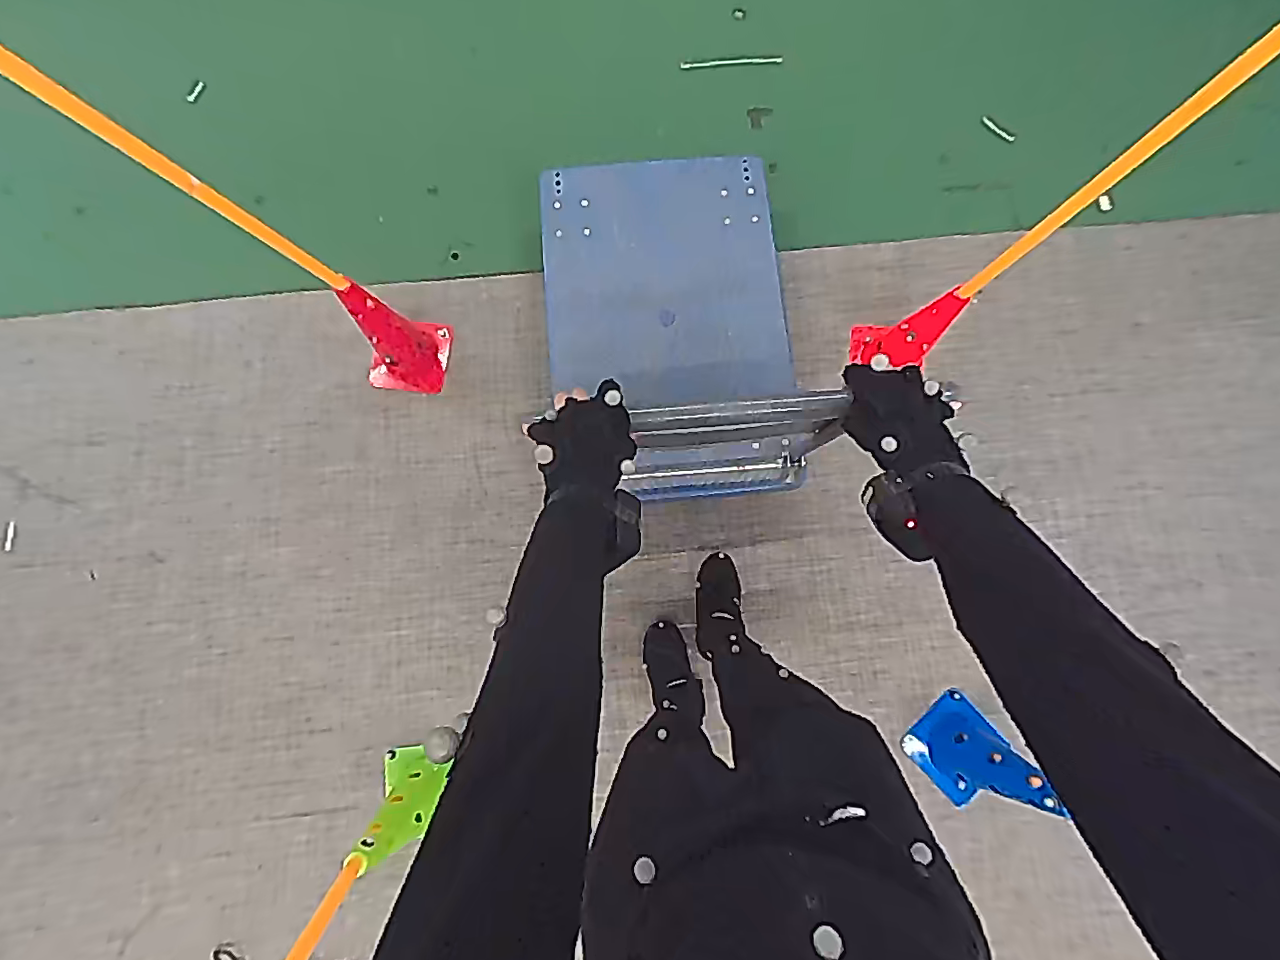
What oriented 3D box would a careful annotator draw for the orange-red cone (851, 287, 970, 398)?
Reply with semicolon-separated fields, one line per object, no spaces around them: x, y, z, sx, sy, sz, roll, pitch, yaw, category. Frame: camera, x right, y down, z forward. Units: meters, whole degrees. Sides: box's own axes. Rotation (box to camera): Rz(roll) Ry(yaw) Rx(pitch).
0.675;-0.353;1.305;0.198;0.360;0.199;6;79;1;orange-red cone
